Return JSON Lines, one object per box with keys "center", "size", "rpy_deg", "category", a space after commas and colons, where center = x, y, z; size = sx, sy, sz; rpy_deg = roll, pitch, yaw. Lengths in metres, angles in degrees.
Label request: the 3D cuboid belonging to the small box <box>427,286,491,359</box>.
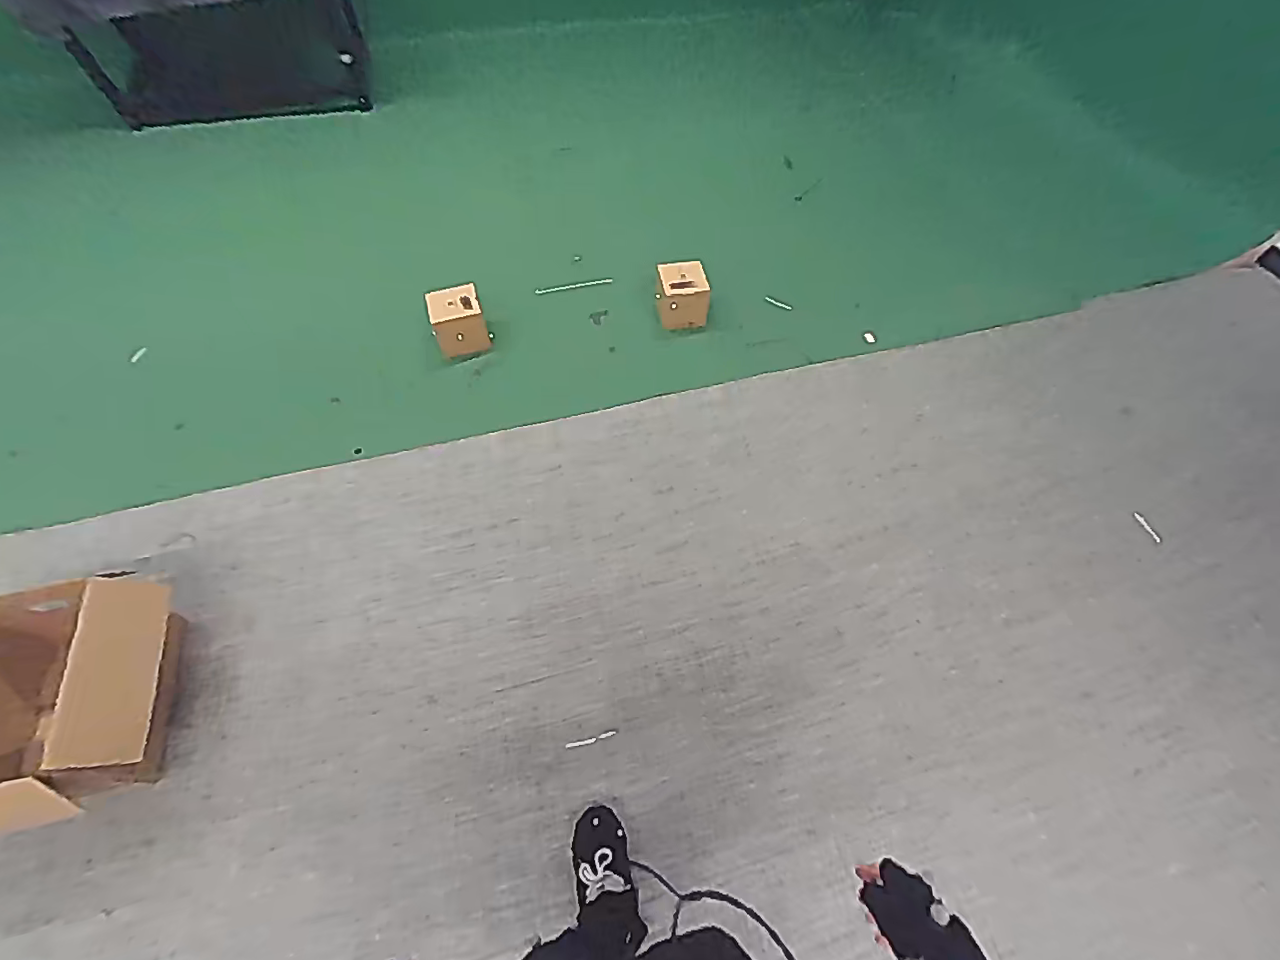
{"center": [-0.649, -0.568, 1.958], "size": [0.179, 0.176, 0.168], "rpy_deg": [-16, 59, -9], "category": "small box"}
